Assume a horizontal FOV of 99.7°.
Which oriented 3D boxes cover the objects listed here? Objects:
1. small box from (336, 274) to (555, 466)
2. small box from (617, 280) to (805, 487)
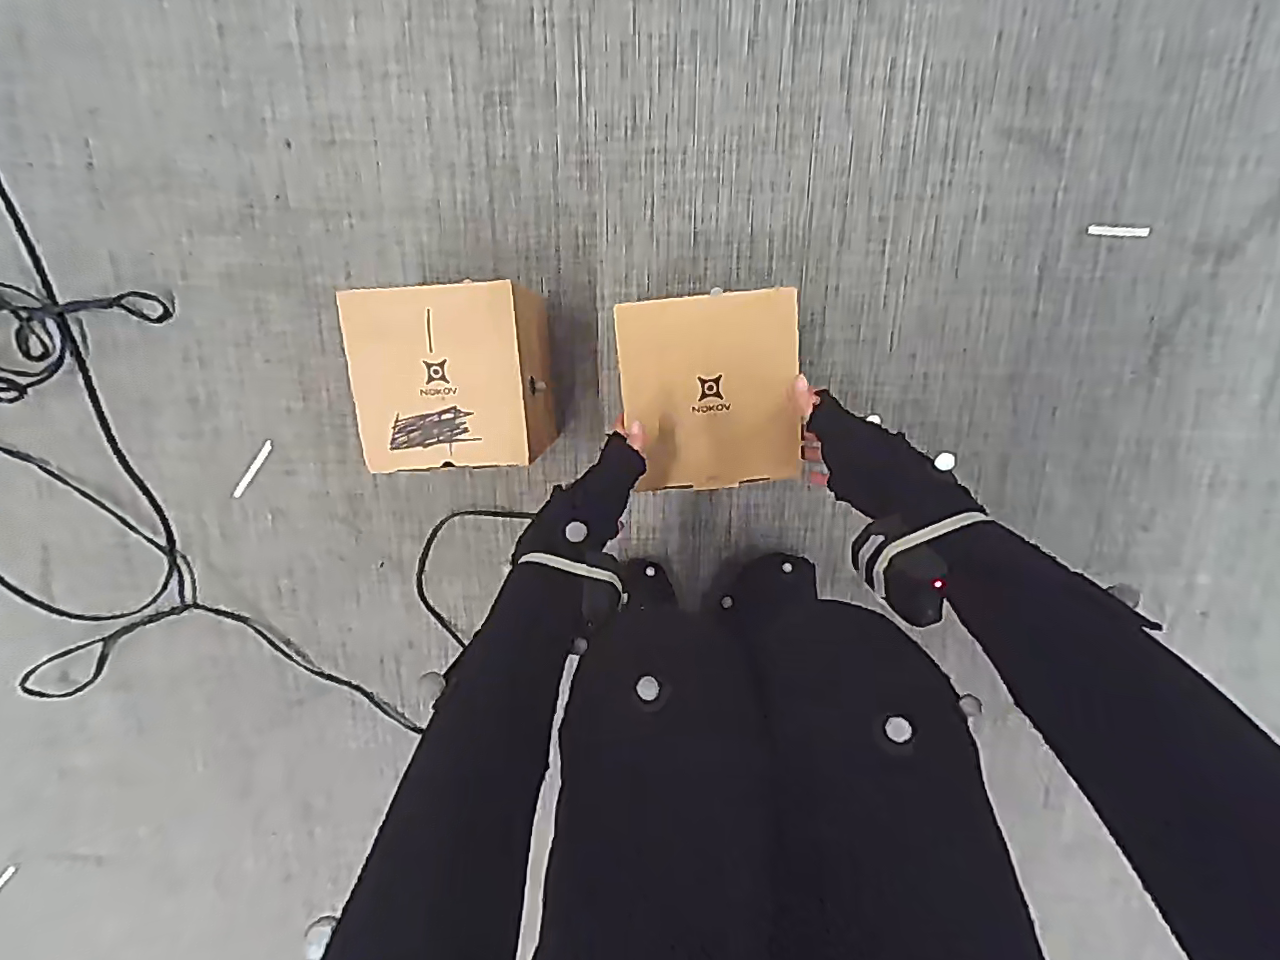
[{"bbox_3d":[-0.190,-0.120,0.585,0.168,0.176,0.179,-2,104,1],"label":"small box"},{"bbox_3d":[0.065,-0.100,0.565,0.168,0.176,0.179,-5,103,1],"label":"small box"}]
